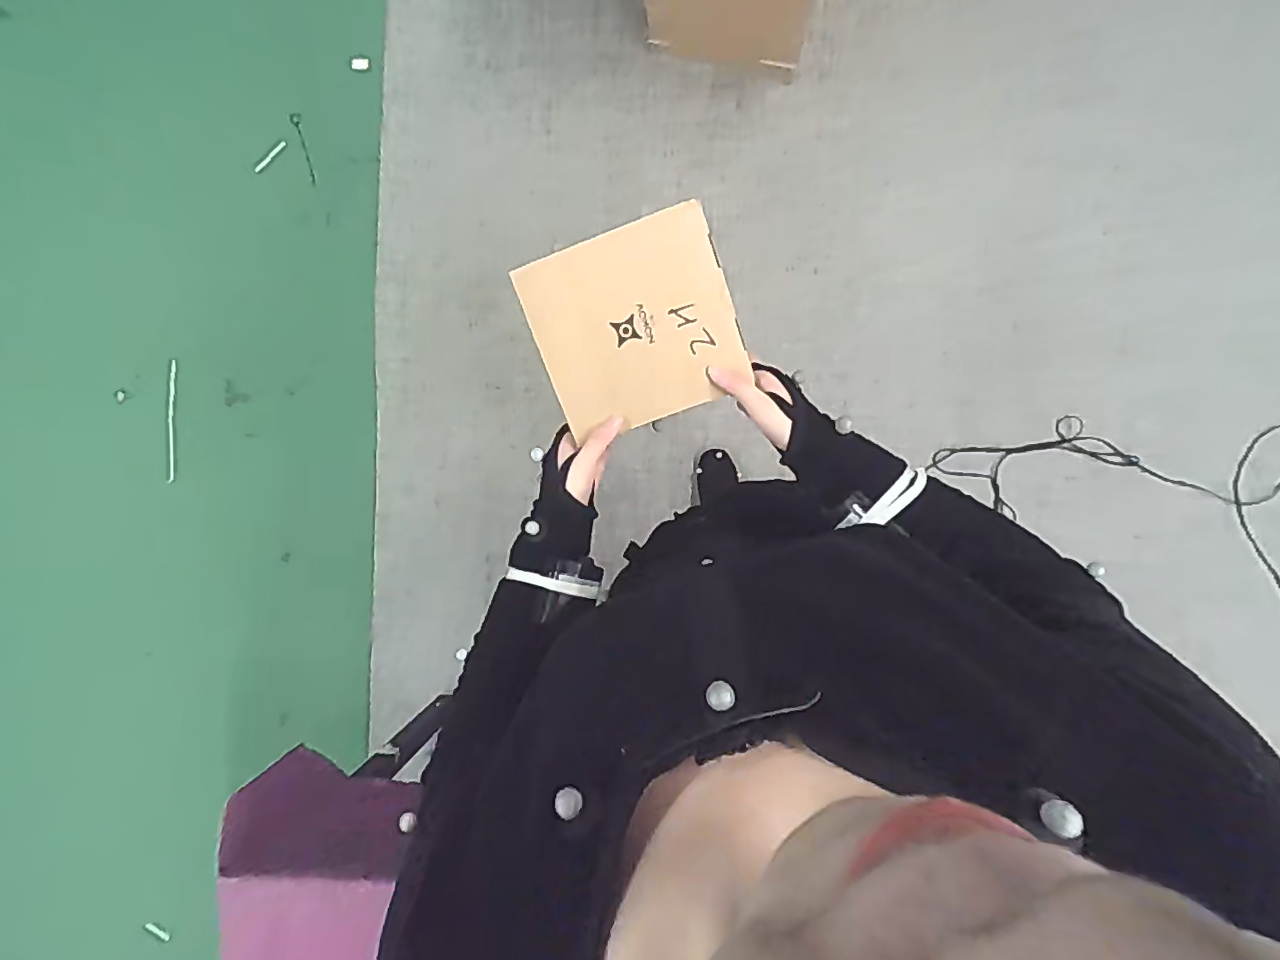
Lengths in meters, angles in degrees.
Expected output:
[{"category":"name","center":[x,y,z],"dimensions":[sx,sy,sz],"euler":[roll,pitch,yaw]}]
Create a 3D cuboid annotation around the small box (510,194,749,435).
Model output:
[{"category":"small box","center":[-0.005,-0.157,0.555],"dimensions":[0.179,0.176,0.168],"euler":[-19,102,5]}]
